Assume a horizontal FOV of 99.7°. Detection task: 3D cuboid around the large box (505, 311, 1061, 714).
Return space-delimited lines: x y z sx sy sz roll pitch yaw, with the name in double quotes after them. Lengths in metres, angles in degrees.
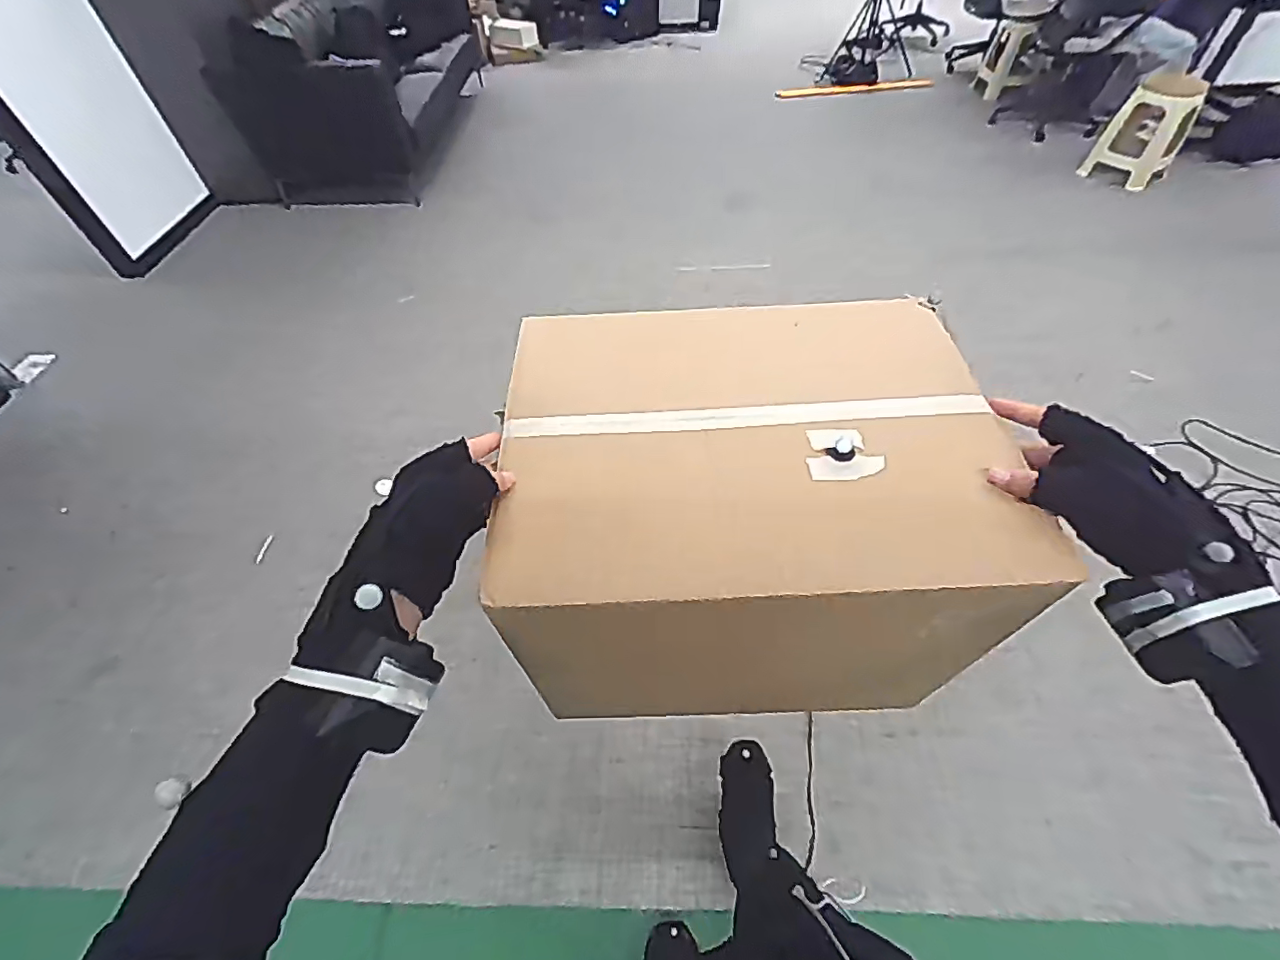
0.097 0.045 0.585 0.408 0.320 0.320 -2 53 0 "large box"
